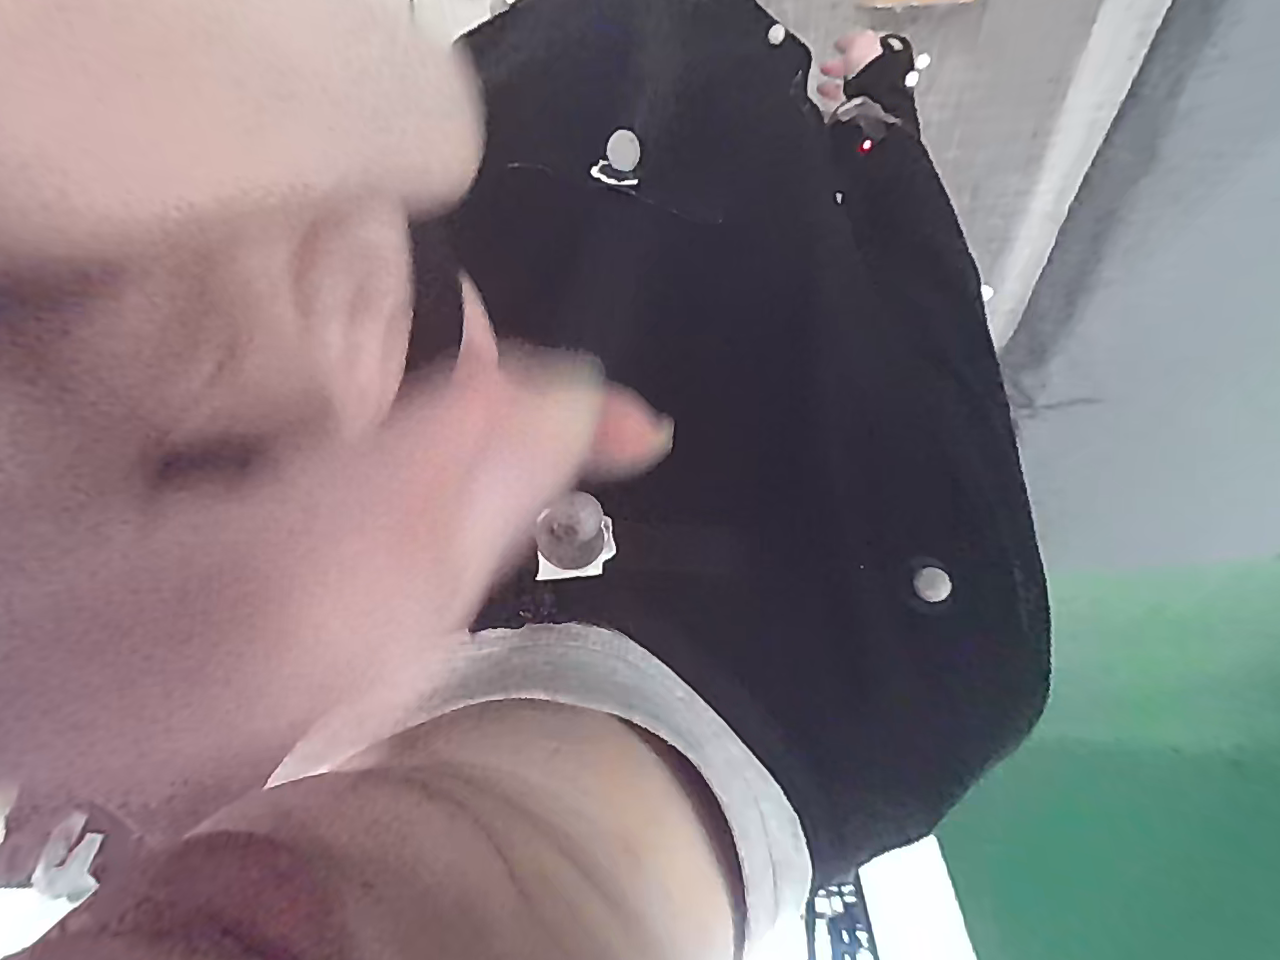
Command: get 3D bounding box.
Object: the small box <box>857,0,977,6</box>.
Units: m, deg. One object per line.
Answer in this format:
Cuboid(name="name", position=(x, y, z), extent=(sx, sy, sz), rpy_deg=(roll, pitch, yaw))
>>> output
Cuboid(name="small box", position=(0.497, -0.938, 0.942), extent=(0.179, 0.176, 0.168), rpy_deg=(-2, 133, 2))
